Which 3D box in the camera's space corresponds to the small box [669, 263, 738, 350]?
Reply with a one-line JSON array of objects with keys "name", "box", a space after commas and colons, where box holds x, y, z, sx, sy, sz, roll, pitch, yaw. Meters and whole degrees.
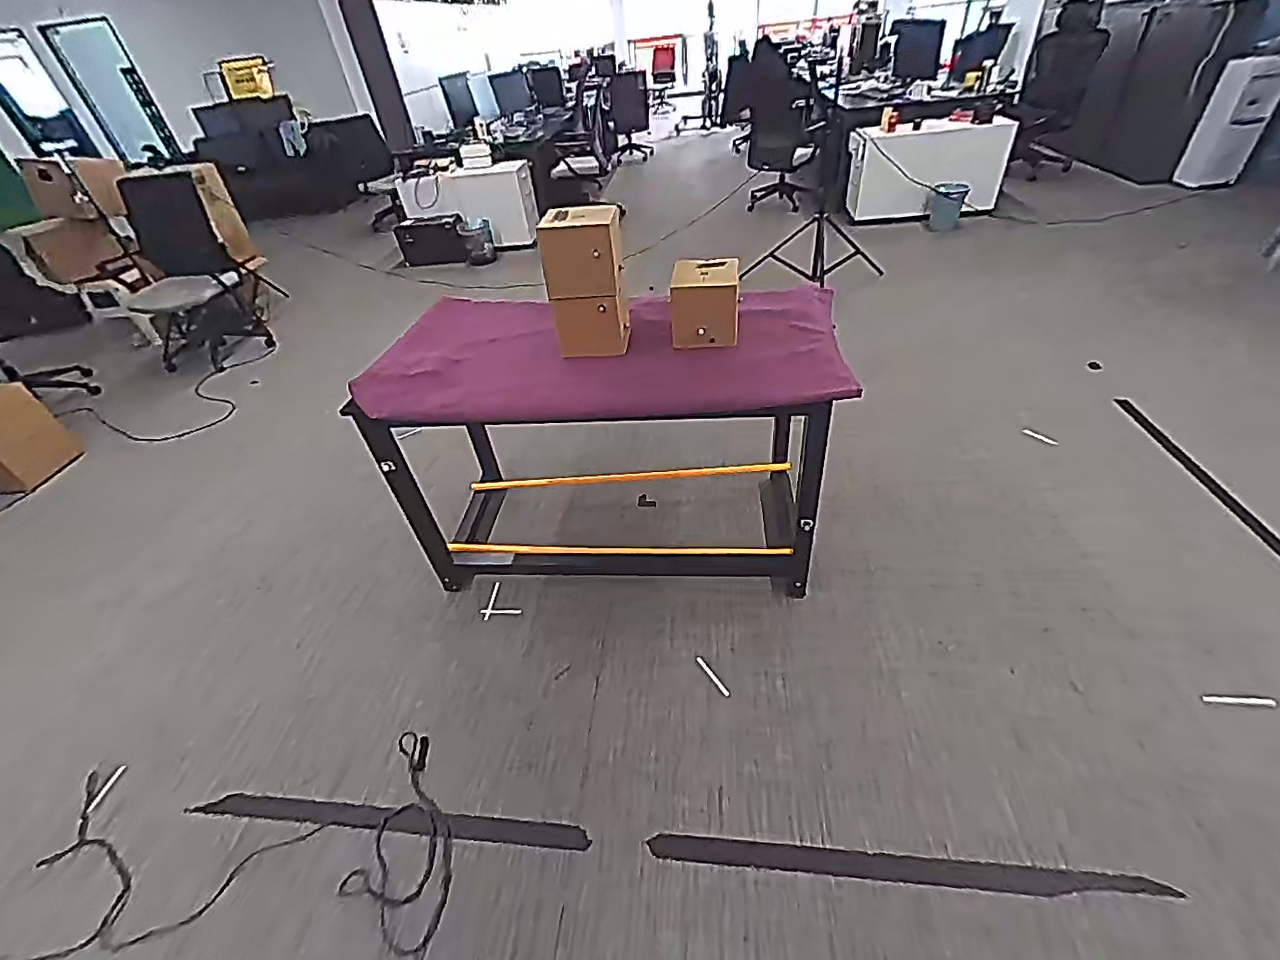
[{"name": "small box", "box": [0.172, -0.458, 1.426, 0.168, 0.176, 0.179, 1, 41, 10]}]

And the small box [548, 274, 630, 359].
[{"name": "small box", "box": [-0.130, -0.435, 1.448, 0.179, 0.176, 0.168, -1, 40, 7]}]
